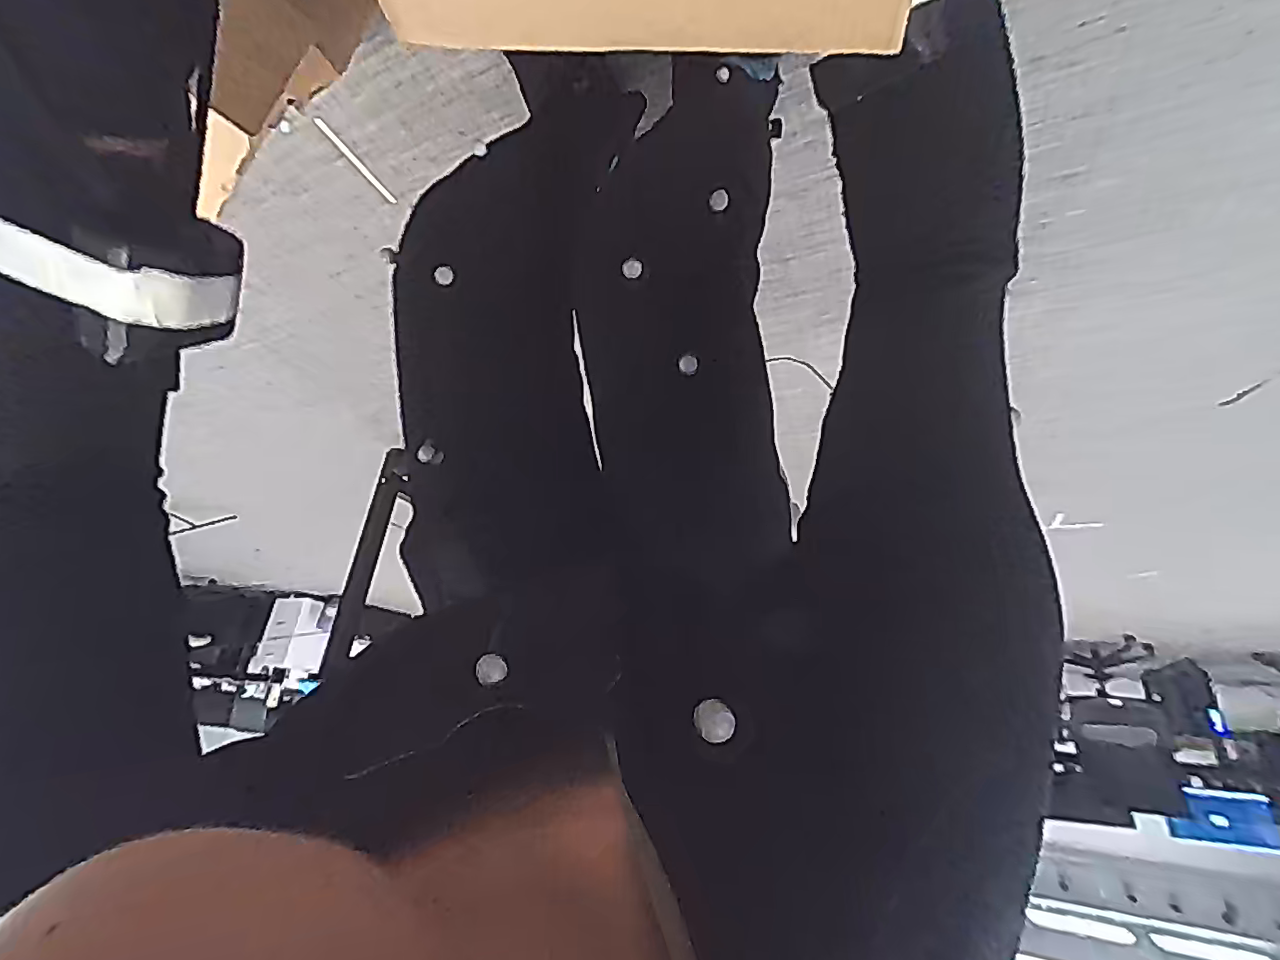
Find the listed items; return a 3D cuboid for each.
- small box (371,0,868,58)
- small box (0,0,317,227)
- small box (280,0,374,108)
[{"bbox_3d":[-0.004,-0.250,0.132,0.179,0.176,0.168,13,165,15],"label":"small box"},{"bbox_3d":[-0.439,-0.385,0.497,0.168,0.176,0.179,-12,153,38],"label":"small box"},{"bbox_3d":[-0.414,-0.531,0.570,0.168,0.176,0.179,-6,153,26],"label":"small box"}]
